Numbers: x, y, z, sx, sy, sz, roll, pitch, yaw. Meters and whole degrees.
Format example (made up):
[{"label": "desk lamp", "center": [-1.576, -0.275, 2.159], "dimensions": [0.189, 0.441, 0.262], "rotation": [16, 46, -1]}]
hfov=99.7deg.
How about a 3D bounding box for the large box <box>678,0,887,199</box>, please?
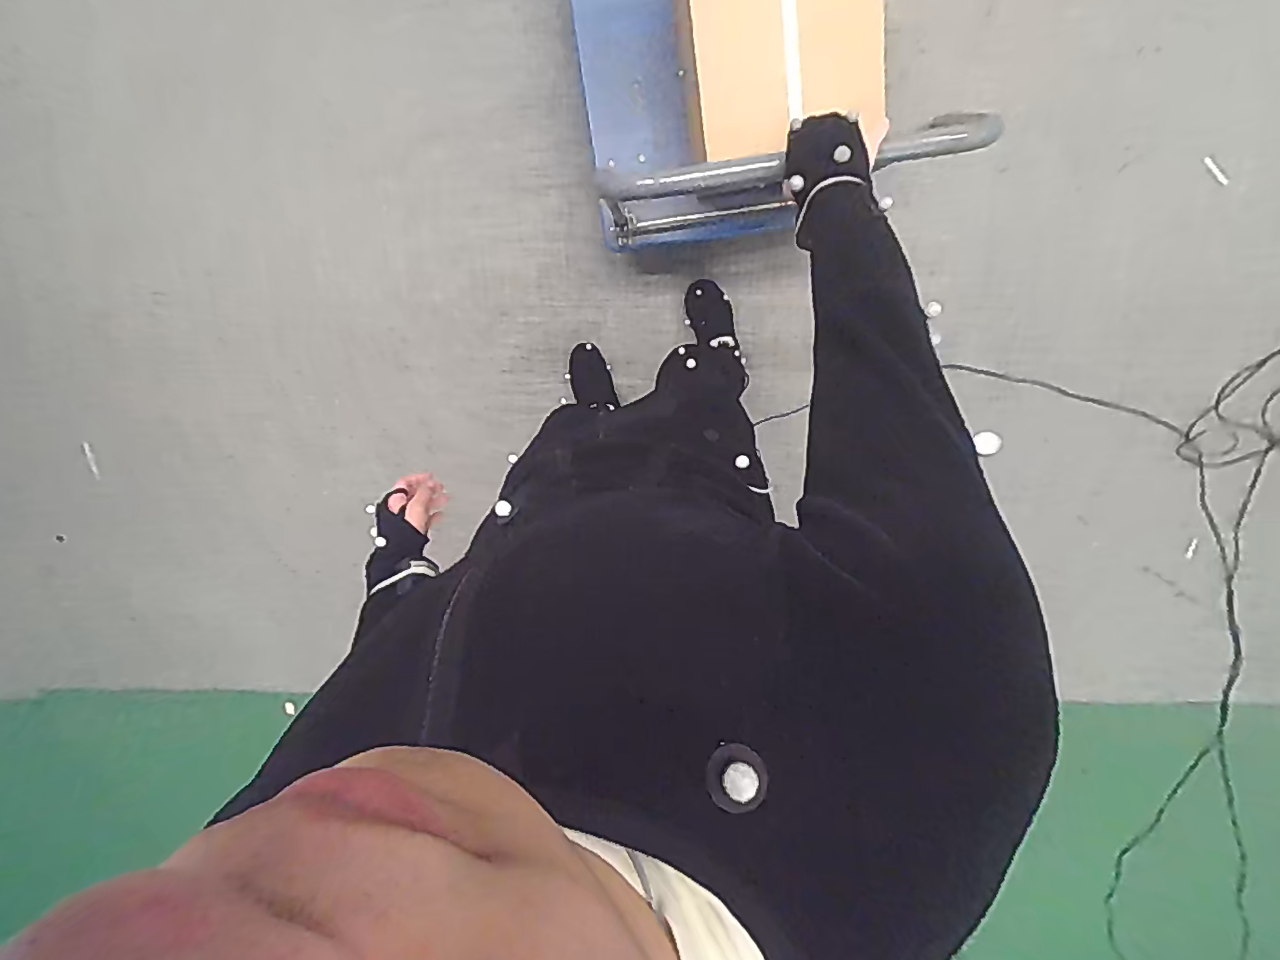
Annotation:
[{"label": "large box", "center": [0.254, -0.811, 1.040], "dimensions": [0.320, 0.320, 0.408], "rotation": [-8, 108, 4]}]
